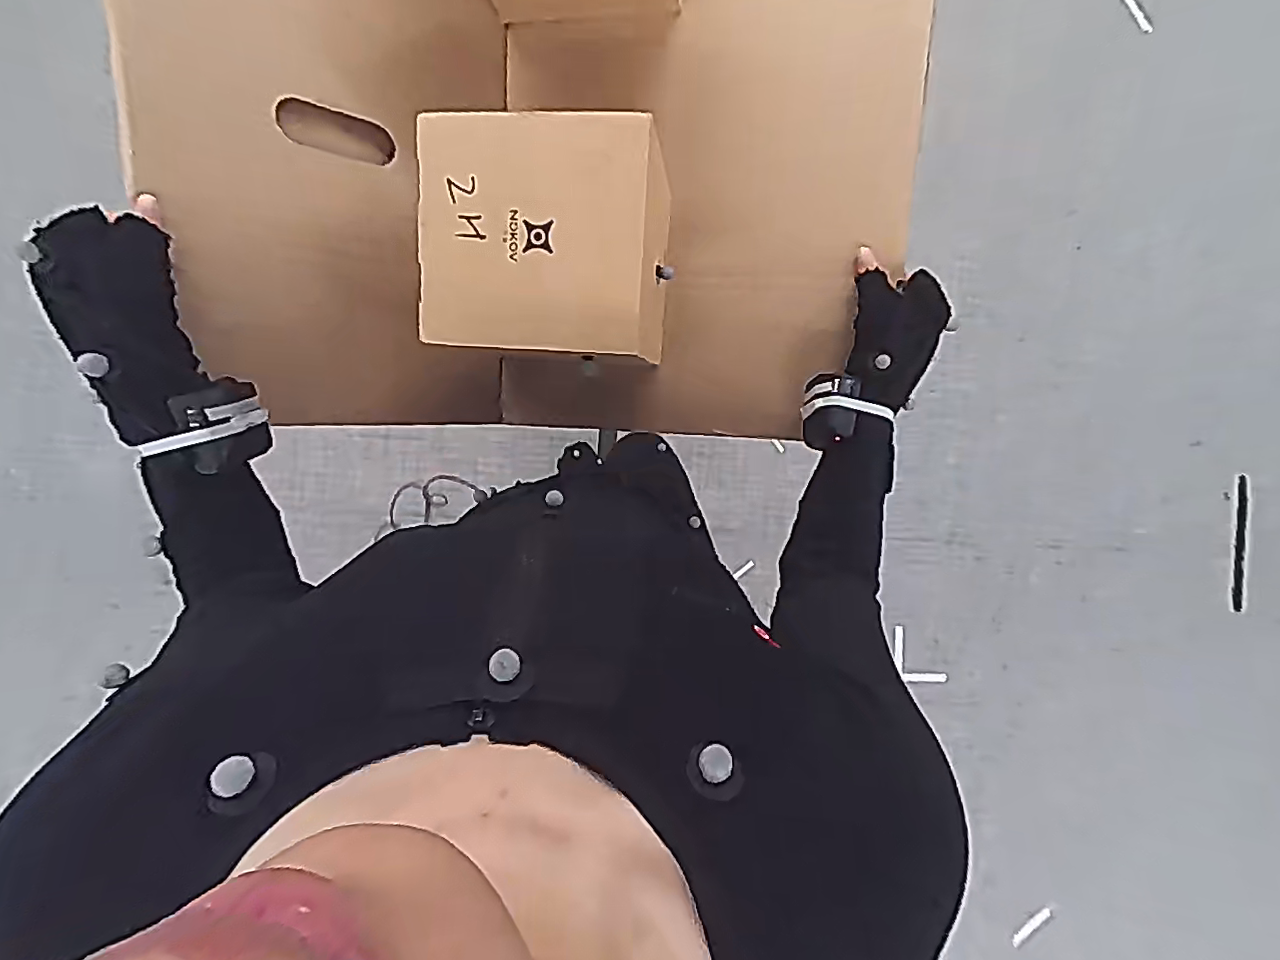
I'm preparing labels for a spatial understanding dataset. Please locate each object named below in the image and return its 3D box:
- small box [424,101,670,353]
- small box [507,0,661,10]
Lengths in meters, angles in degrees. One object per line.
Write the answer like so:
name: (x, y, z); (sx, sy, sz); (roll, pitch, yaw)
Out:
small box: (-0.070, -0.207, 0.485); (0.179, 0.176, 0.168); (6, 100, 8)
small box: (-0.055, -0.522, 0.431); (0.179, 0.176, 0.168); (3, 100, 7)
